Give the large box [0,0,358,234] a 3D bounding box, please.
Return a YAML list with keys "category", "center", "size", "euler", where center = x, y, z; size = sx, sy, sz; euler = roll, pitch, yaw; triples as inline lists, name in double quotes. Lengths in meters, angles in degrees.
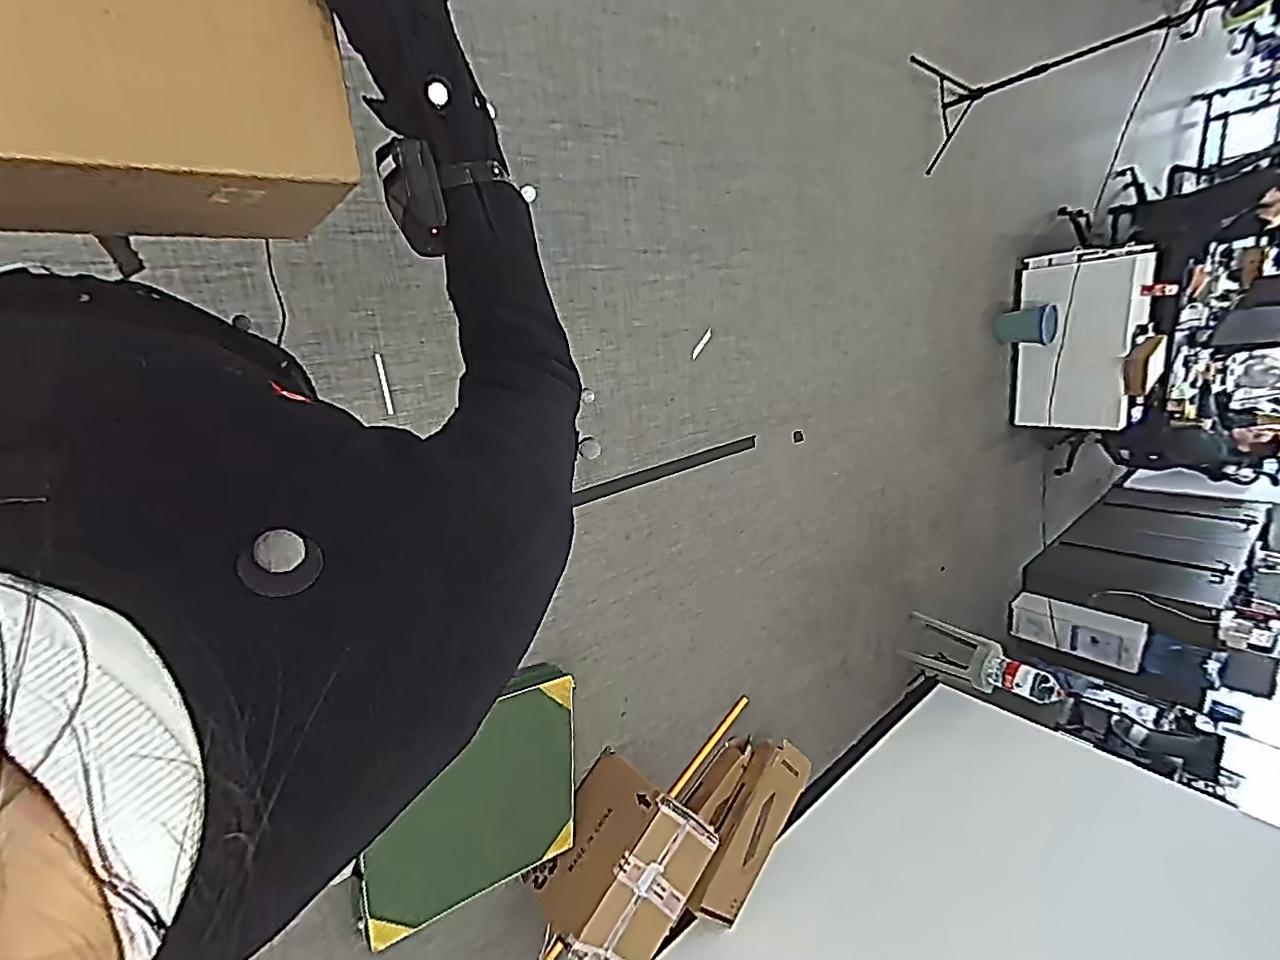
- category: "large box"
  center: [-0.458, -0.341, 0.340]
  size: [0.408, 0.320, 0.320]
  euler: [-17, 114, -35]
